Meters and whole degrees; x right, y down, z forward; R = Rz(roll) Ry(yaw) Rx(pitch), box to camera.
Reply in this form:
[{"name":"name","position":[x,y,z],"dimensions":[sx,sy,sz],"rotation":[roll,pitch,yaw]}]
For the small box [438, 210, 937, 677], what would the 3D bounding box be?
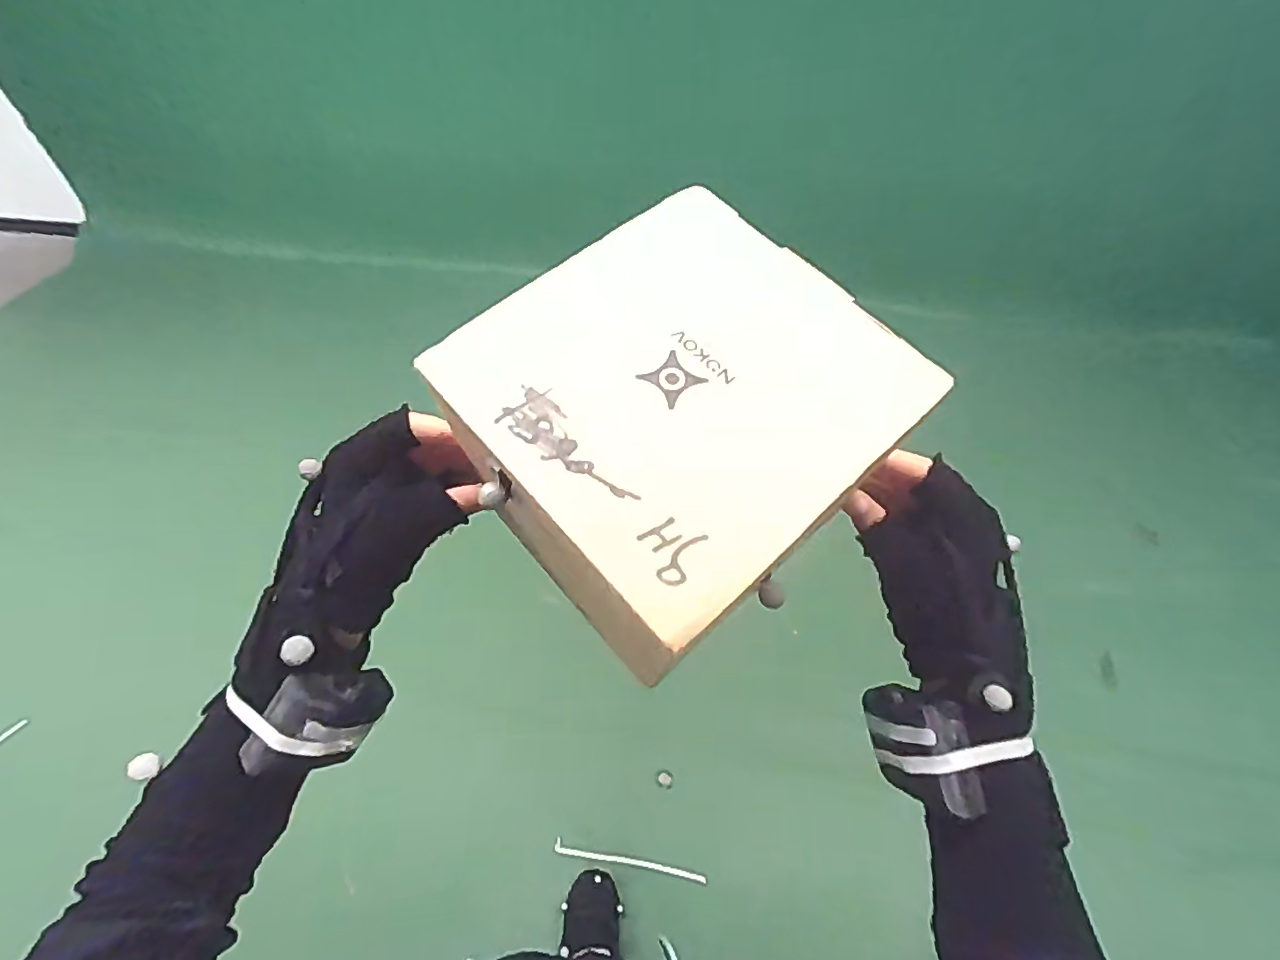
[{"name":"small box","position":[0.020,-0.010,0.320],"dimensions":[0.179,0.176,0.168],"rotation":[-39,71,-18]}]
